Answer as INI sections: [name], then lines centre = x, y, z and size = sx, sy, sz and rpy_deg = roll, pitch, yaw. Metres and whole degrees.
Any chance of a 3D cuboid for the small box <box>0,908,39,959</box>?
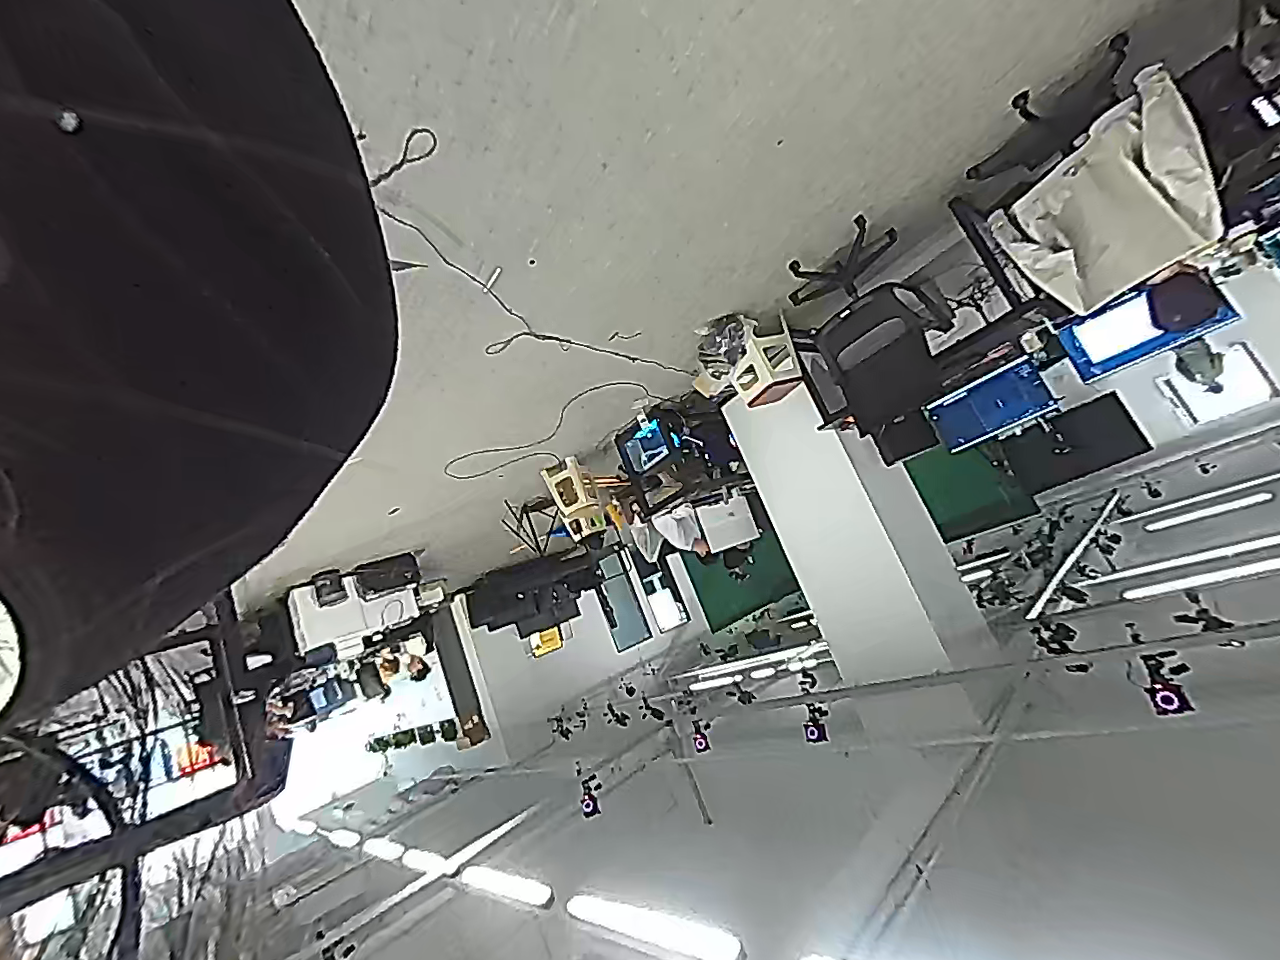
[small box]
centre = -1.516, 1.131, 1.236
size = 0.168, 0.176, 0.179
rpy_deg = -10, 165, -44
